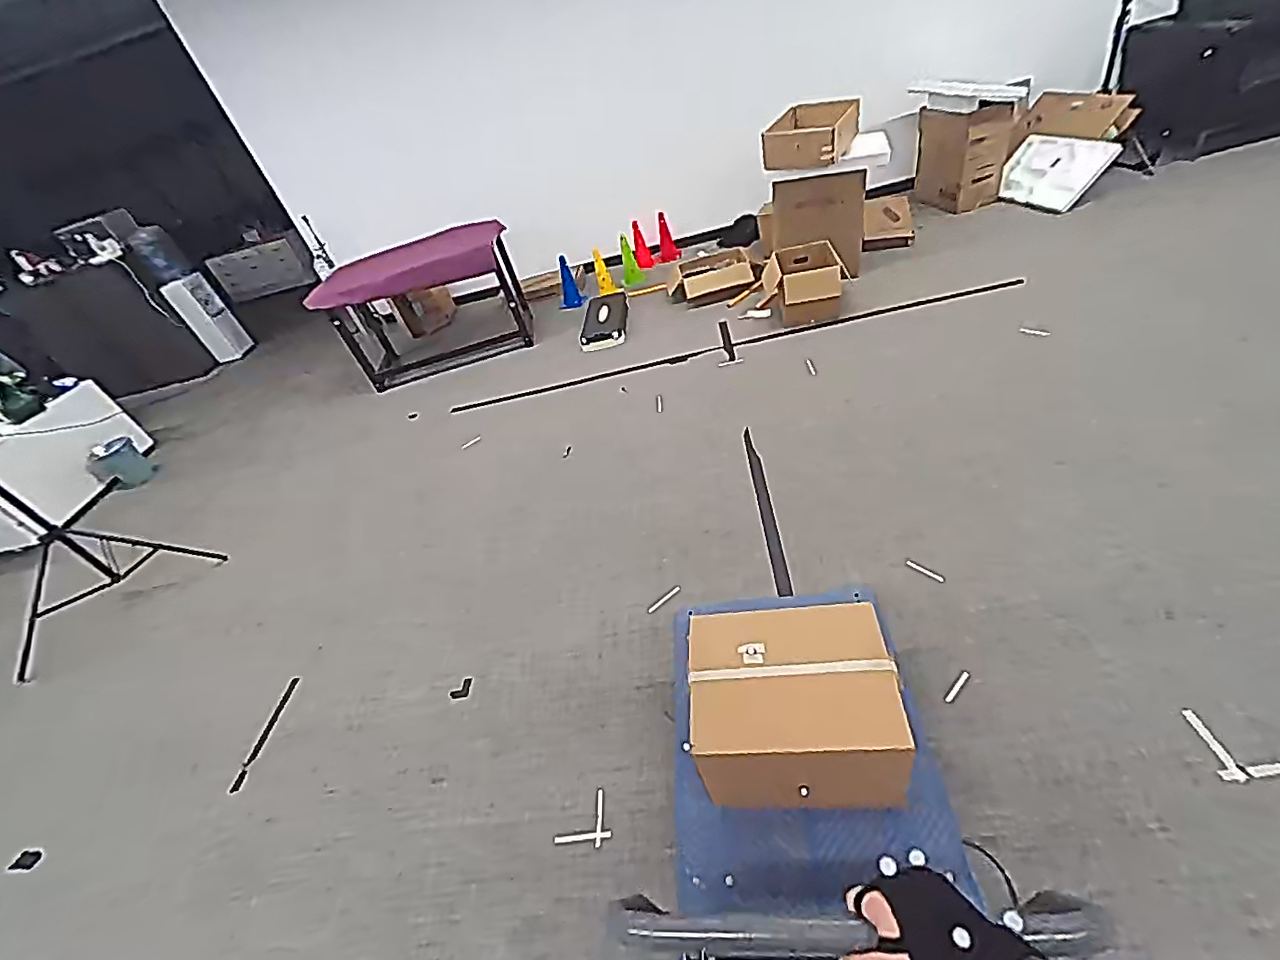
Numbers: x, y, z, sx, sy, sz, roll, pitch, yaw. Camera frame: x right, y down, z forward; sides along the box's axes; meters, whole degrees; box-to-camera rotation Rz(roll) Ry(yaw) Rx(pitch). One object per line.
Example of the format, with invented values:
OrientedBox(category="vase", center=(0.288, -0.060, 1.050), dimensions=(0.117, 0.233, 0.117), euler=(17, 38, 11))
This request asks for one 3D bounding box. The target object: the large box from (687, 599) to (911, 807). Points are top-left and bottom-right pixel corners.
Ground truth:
OrientedBox(category="large box", center=(0.332, 0.498, 1.189), dimensions=(0.408, 0.320, 0.320), euler=(-9, 39, 13))
